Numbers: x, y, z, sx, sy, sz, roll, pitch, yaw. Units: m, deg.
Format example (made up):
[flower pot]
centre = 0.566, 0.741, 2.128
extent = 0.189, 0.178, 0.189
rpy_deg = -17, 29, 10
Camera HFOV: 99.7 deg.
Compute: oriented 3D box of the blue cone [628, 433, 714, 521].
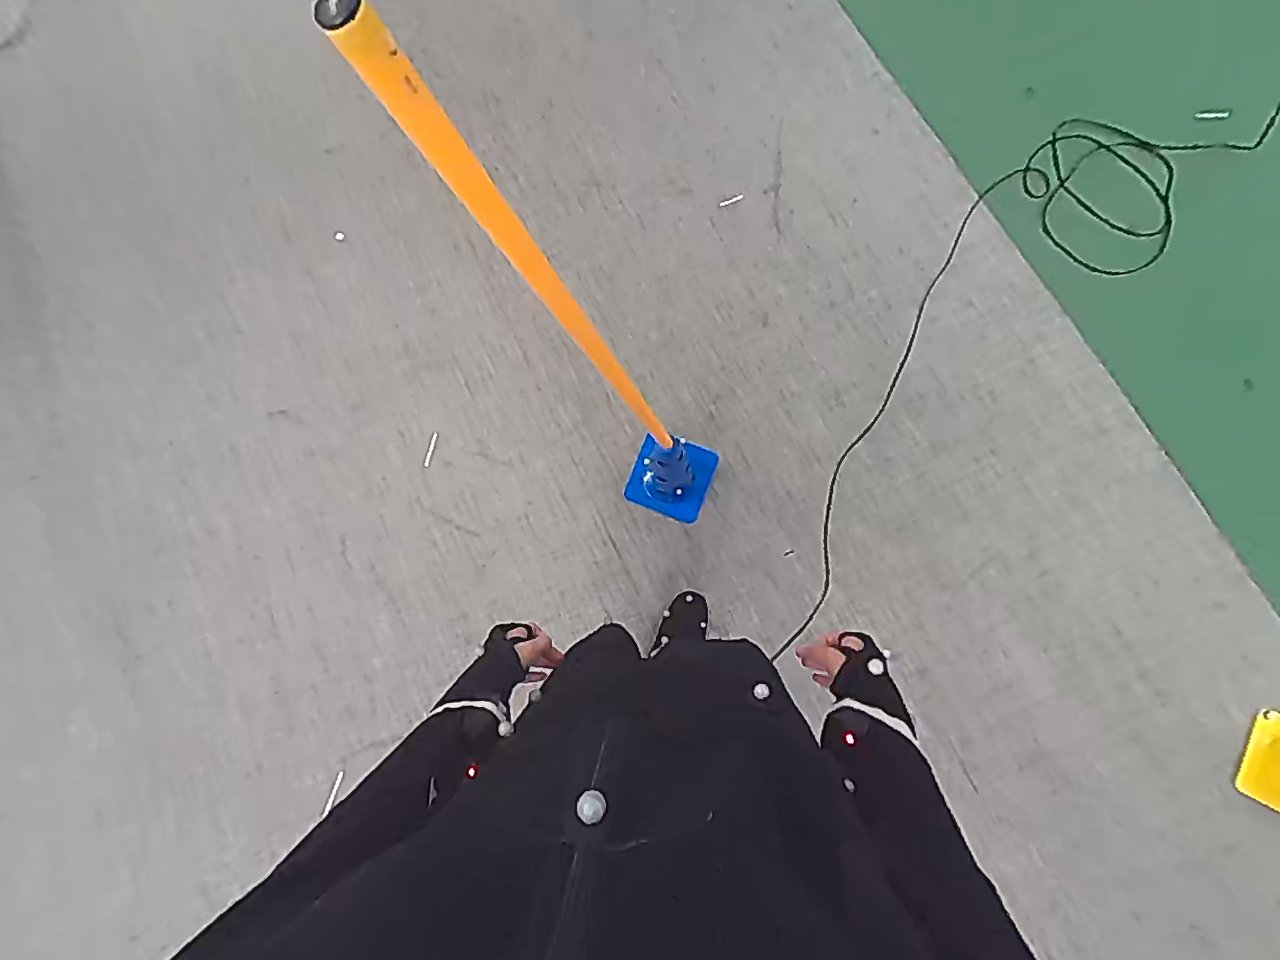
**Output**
[blue cone]
centre = 0.061, -0.030, 1.199
extent = 0.193, 0.380, 0.192
rpy_deg = 19, 82, 9
